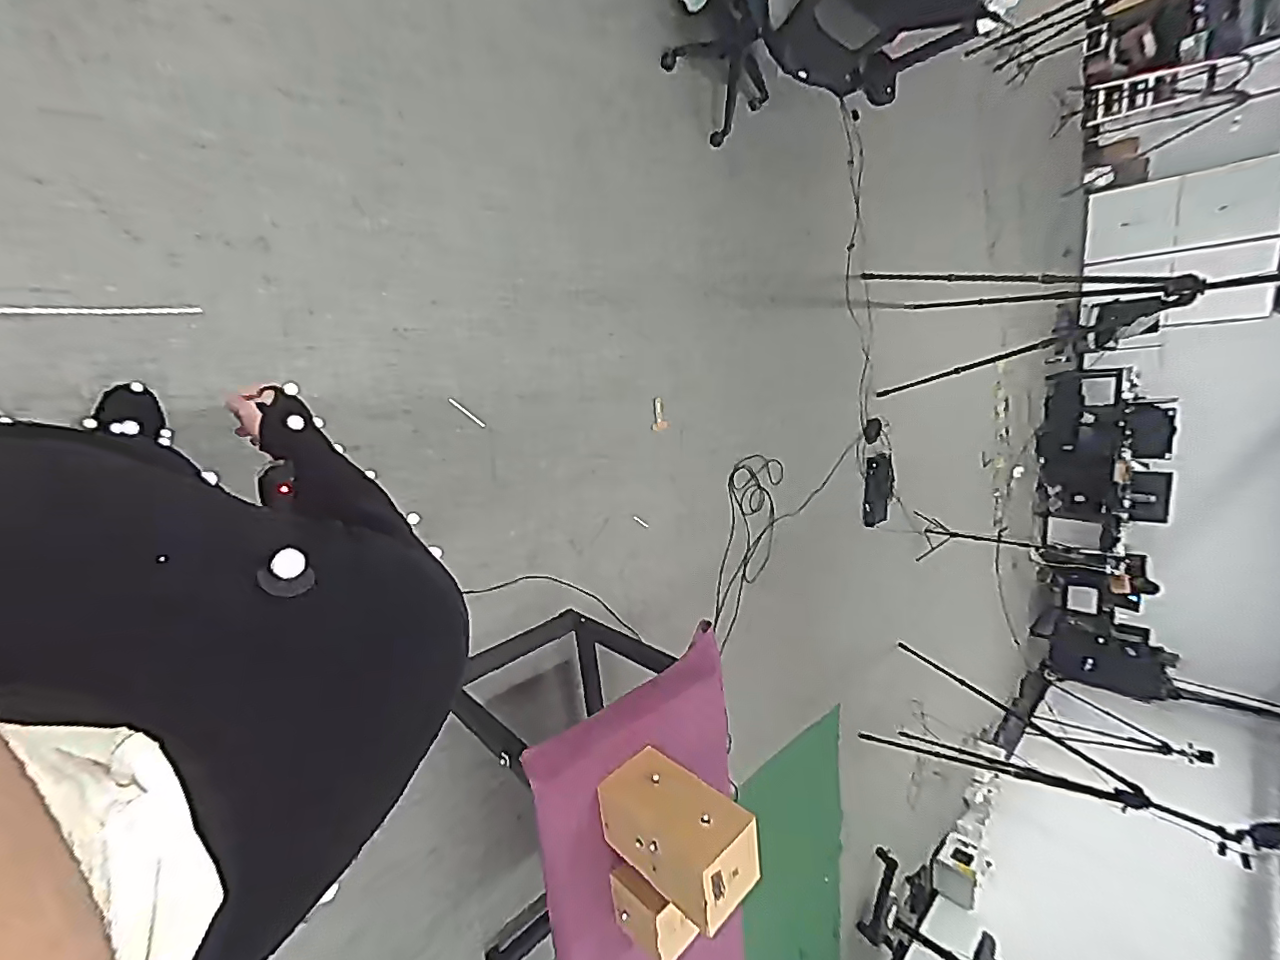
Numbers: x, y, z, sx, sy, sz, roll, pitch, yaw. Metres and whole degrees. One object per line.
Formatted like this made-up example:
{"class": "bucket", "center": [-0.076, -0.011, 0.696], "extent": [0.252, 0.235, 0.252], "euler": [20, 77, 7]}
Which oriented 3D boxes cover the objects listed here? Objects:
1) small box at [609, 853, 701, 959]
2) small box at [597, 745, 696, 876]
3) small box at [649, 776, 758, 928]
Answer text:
{"class": "small box", "center": [0.048, 1.019, 1.349], "extent": [0.179, 0.176, 0.168], "euler": [-18, 107, -40]}
{"class": "small box", "center": [0.020, 0.775, 1.294], "extent": [0.179, 0.176, 0.168], "euler": [-18, 107, -41]}
{"class": "small box", "center": [0.133, 0.793, 1.174], "extent": [0.179, 0.176, 0.168], "euler": [-18, 108, -41]}
